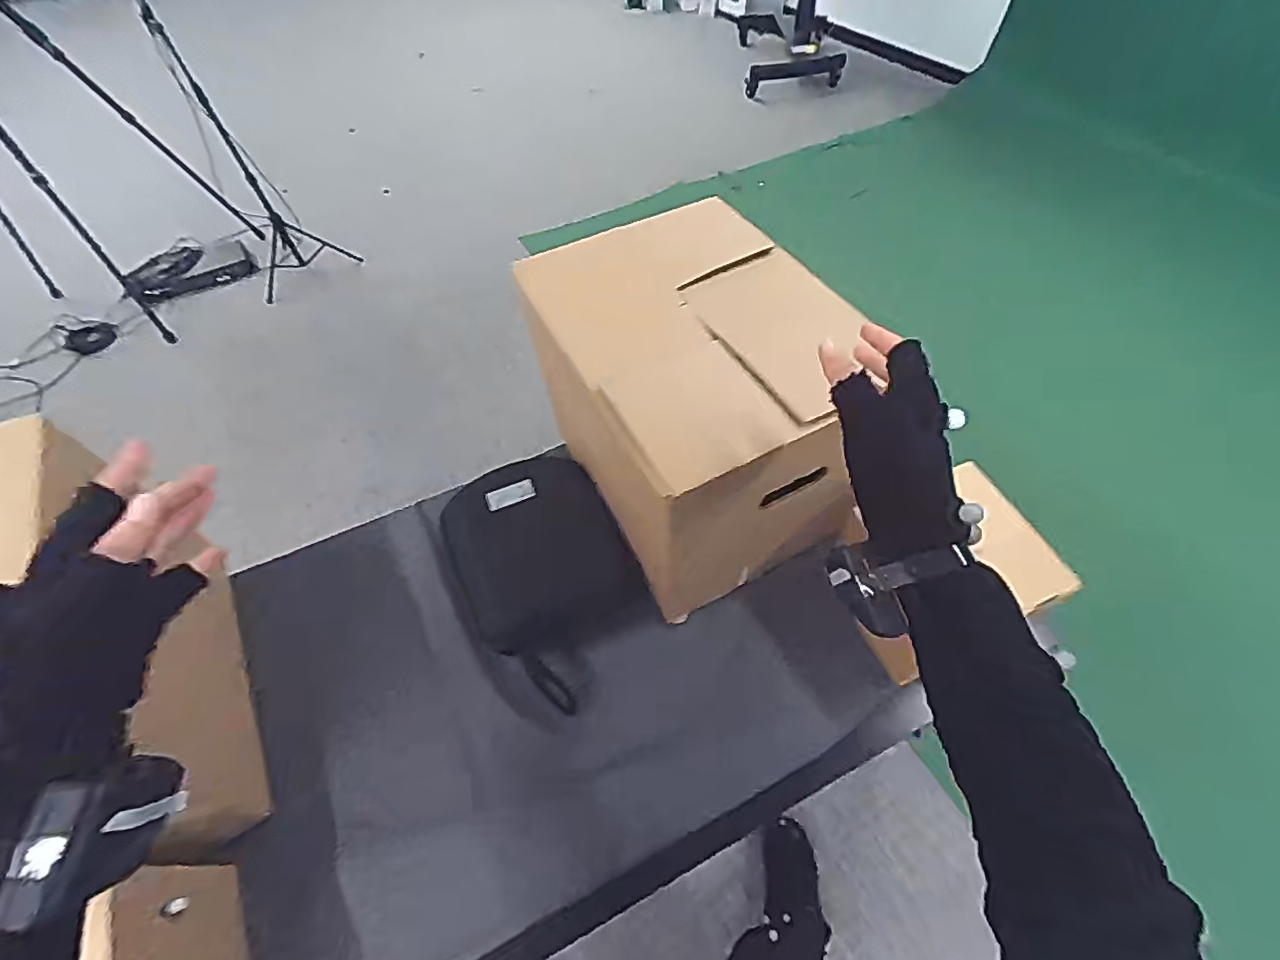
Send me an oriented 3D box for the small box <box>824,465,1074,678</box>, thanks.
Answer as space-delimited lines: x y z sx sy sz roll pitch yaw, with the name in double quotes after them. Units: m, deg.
0.353 0.116 0.663 0.168 0.176 0.179 -20 59 -9 "small box"
